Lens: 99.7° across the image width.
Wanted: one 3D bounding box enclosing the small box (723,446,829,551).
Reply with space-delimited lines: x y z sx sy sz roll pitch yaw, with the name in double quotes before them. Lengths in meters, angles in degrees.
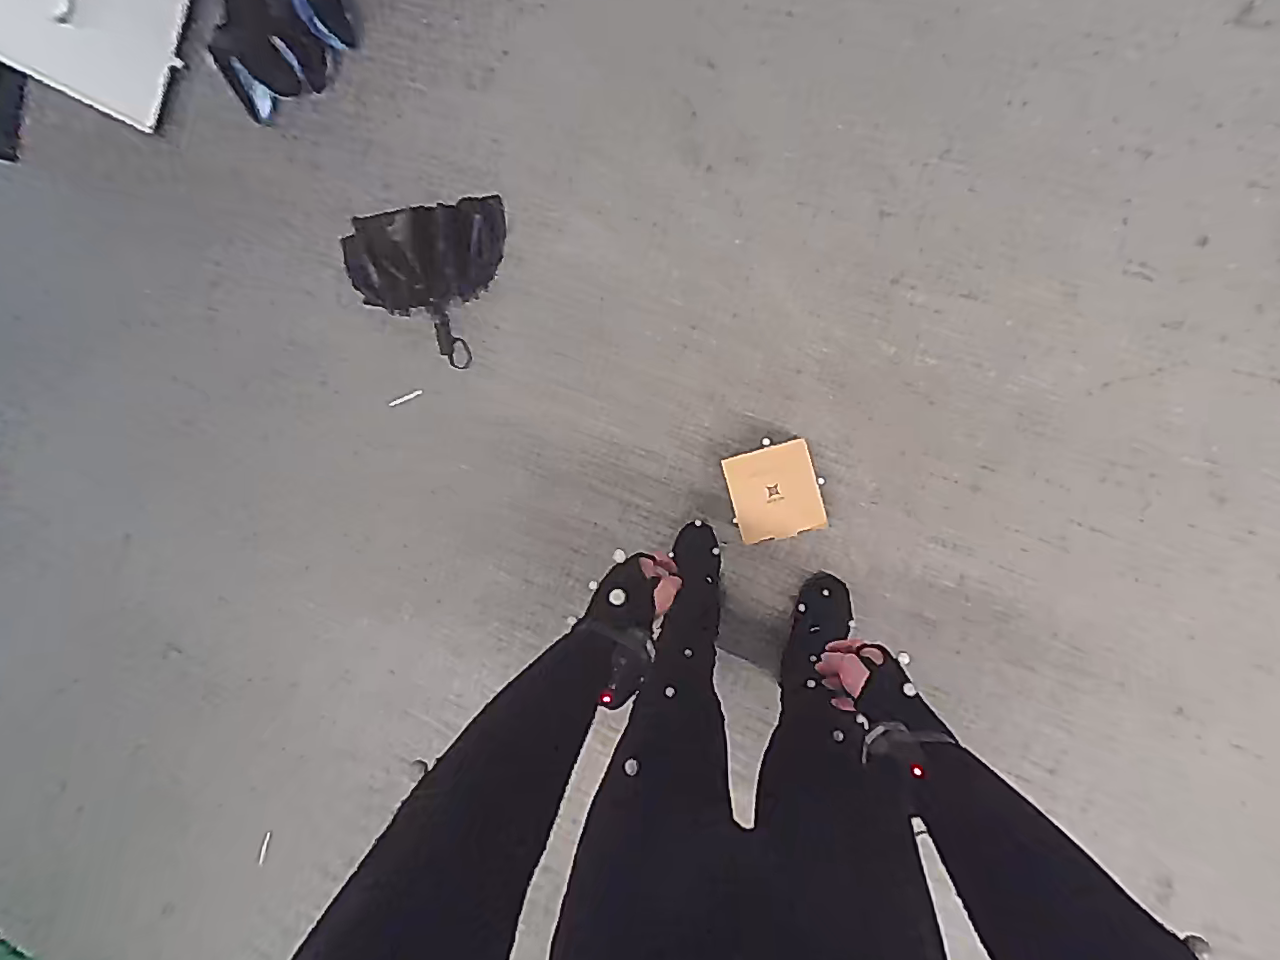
"small box" 0.281 0.033 1.122 0.168 0.176 0.179 -17 88 13
